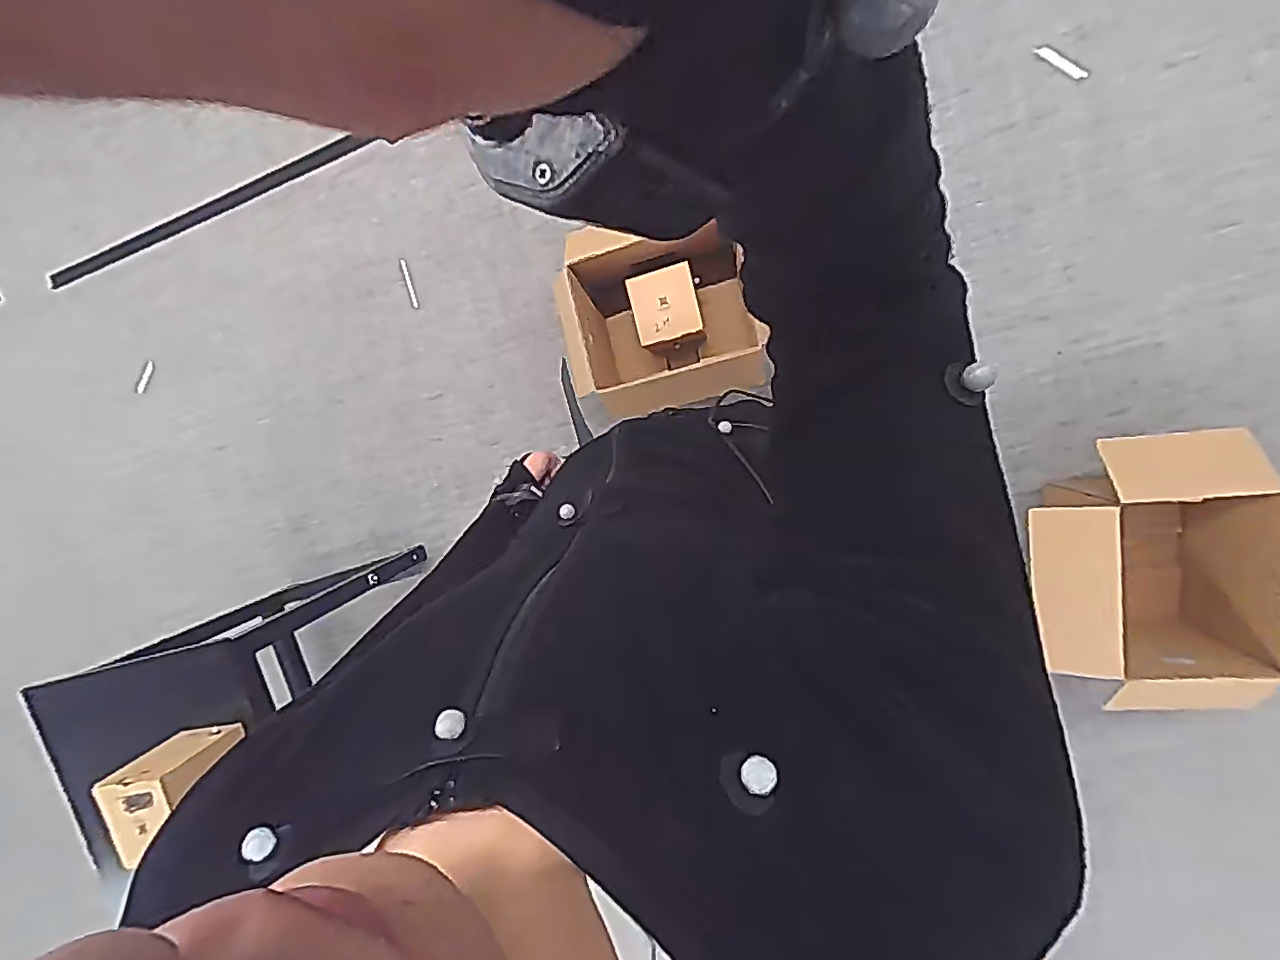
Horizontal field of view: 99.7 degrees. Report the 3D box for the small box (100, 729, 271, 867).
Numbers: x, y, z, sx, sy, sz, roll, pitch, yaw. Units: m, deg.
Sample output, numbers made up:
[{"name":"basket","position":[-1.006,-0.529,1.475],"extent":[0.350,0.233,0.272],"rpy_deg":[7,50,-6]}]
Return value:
[{"name":"small box","position":[-0.883,0.615,1.067],"extent":[0.168,0.176,0.179],"rpy_deg":[-13,98,13]}]
